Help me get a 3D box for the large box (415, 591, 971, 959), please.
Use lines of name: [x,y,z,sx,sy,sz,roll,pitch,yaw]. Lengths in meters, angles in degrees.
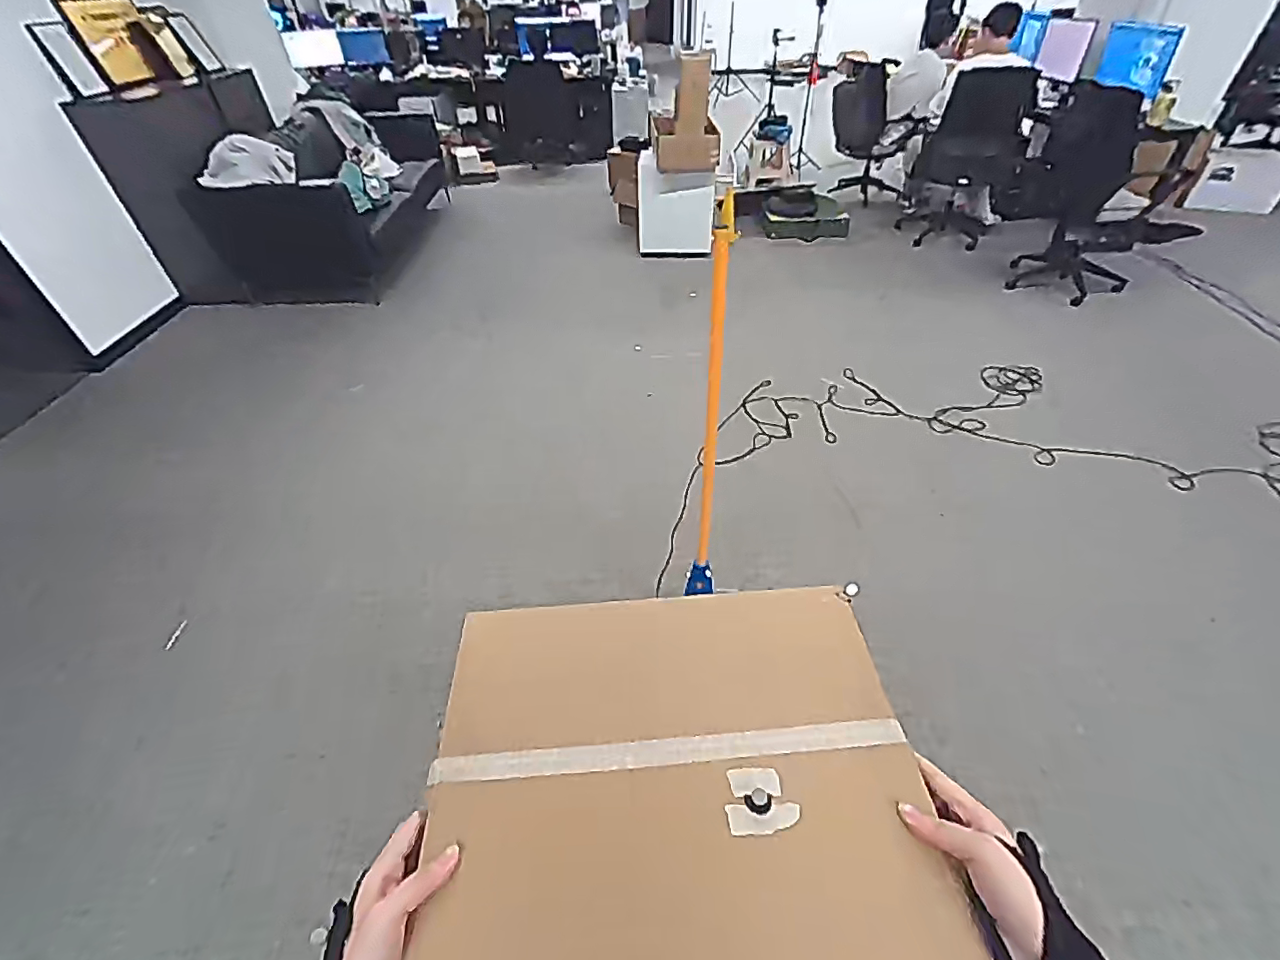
large box: [0.029,0.349,0.580,0.408,0.320,0.320,-4,44,-2]
